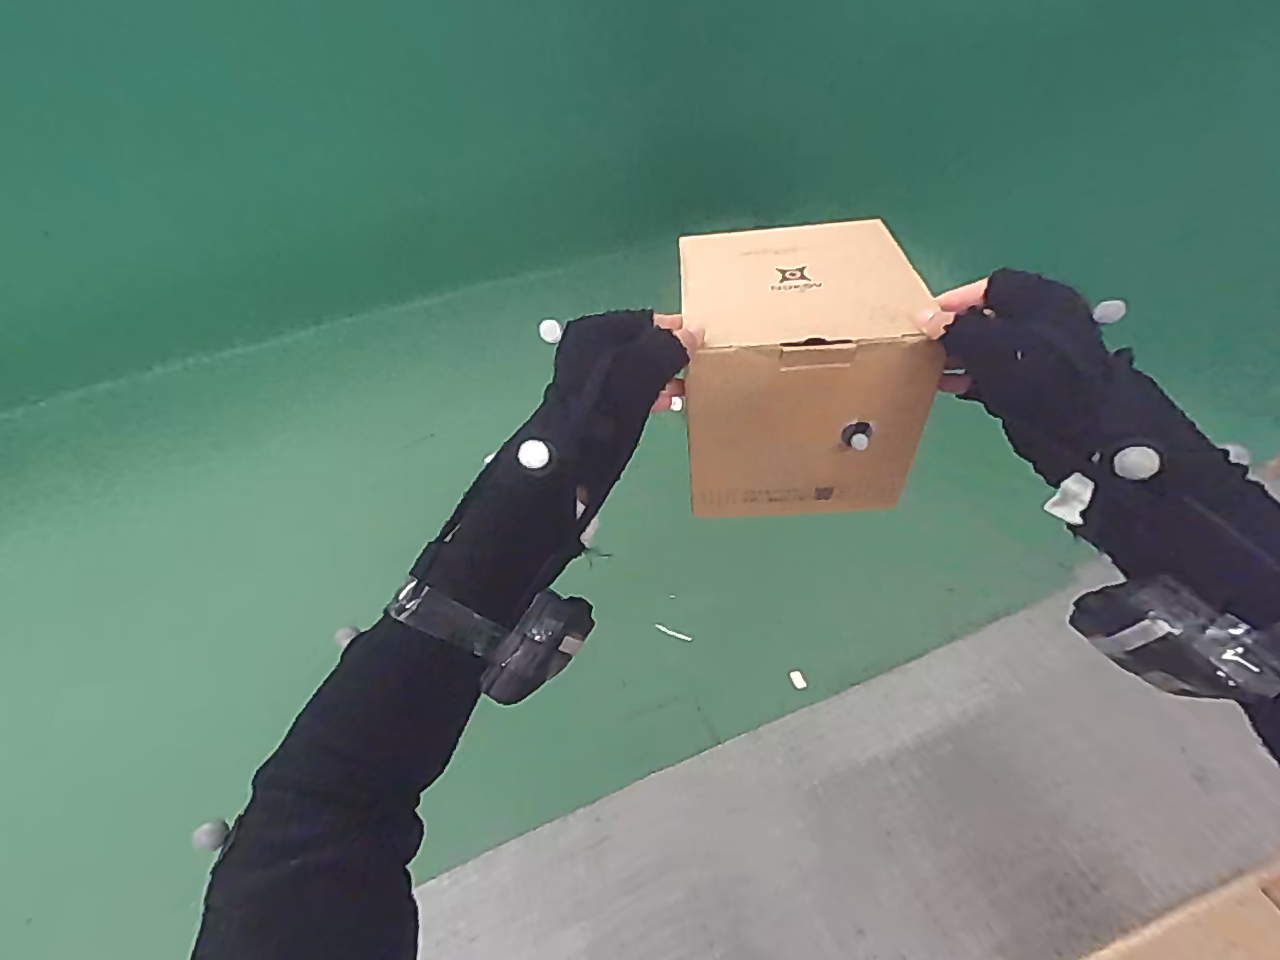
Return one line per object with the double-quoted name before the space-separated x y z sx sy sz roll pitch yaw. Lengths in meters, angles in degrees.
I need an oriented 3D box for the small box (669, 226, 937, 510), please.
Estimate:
"small box" 0.112 -0.087 0.450 0.168 0.176 0.179 -3 44 4
